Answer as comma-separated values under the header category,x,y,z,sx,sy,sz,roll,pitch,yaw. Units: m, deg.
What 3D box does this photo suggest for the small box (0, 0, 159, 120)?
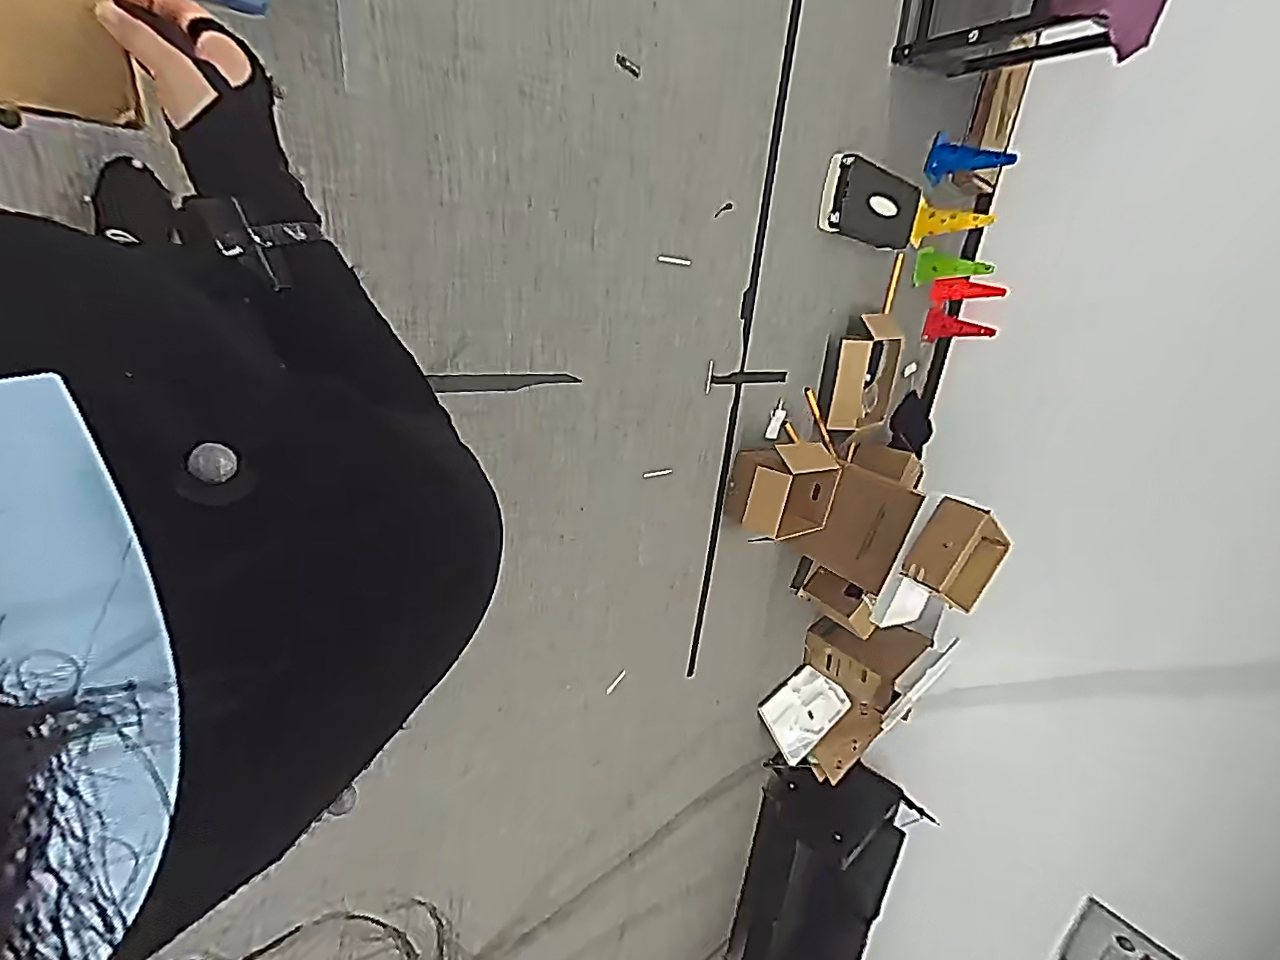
category,x,y,z,sx,sy,sz,roll,pitch,yaw
small box,-0.436,-0.352,0.346,0.168,0.176,0.179,-11,125,-35
